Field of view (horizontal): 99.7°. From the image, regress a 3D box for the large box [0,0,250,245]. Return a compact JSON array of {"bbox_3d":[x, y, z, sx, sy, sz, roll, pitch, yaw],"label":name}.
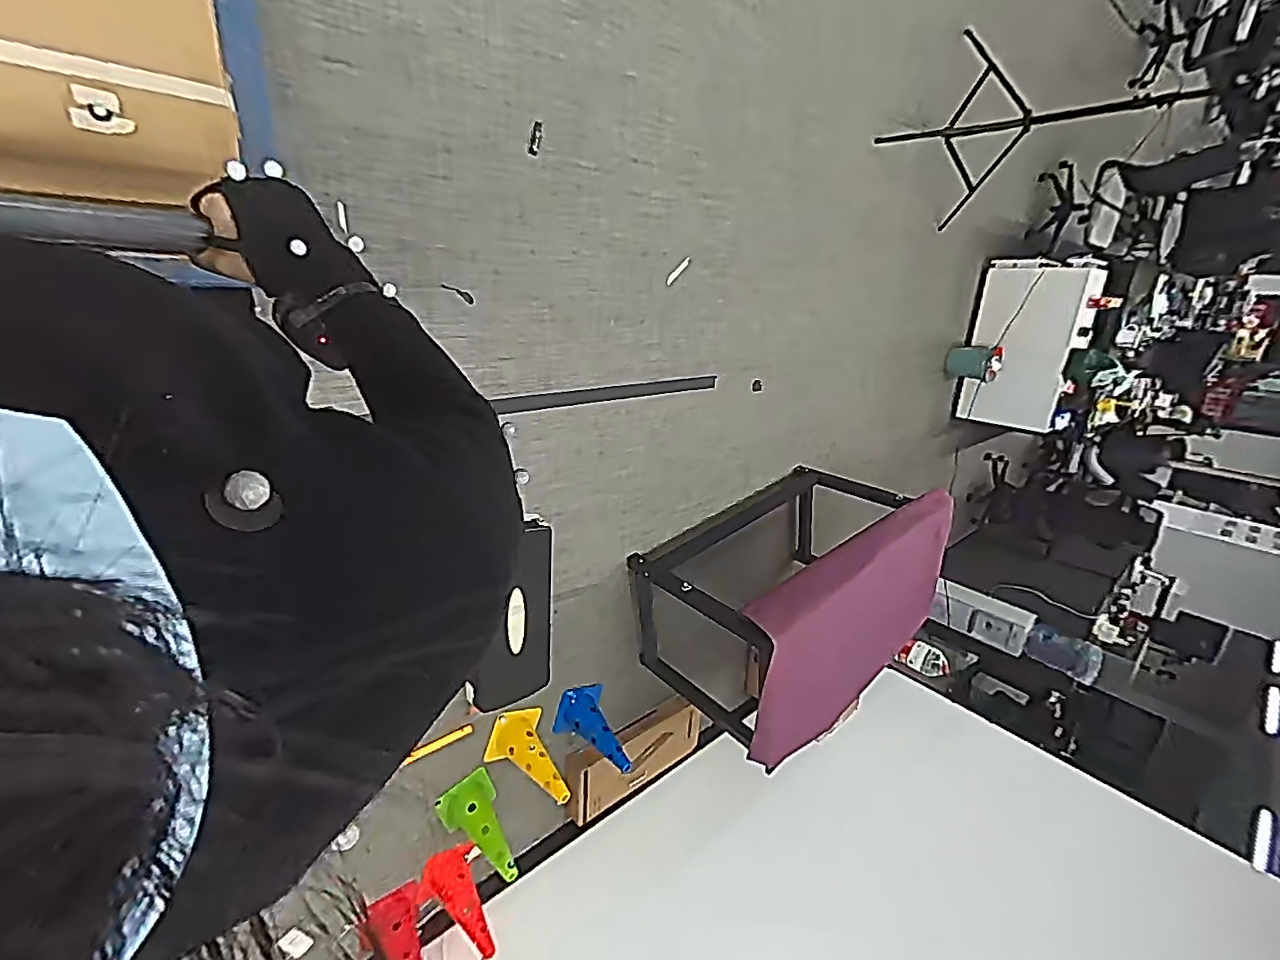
[{"bbox_3d":[-0.805,-0.502,0.715,0.408,0.320,0.320,-13,114,-39],"label":"large box"}]
